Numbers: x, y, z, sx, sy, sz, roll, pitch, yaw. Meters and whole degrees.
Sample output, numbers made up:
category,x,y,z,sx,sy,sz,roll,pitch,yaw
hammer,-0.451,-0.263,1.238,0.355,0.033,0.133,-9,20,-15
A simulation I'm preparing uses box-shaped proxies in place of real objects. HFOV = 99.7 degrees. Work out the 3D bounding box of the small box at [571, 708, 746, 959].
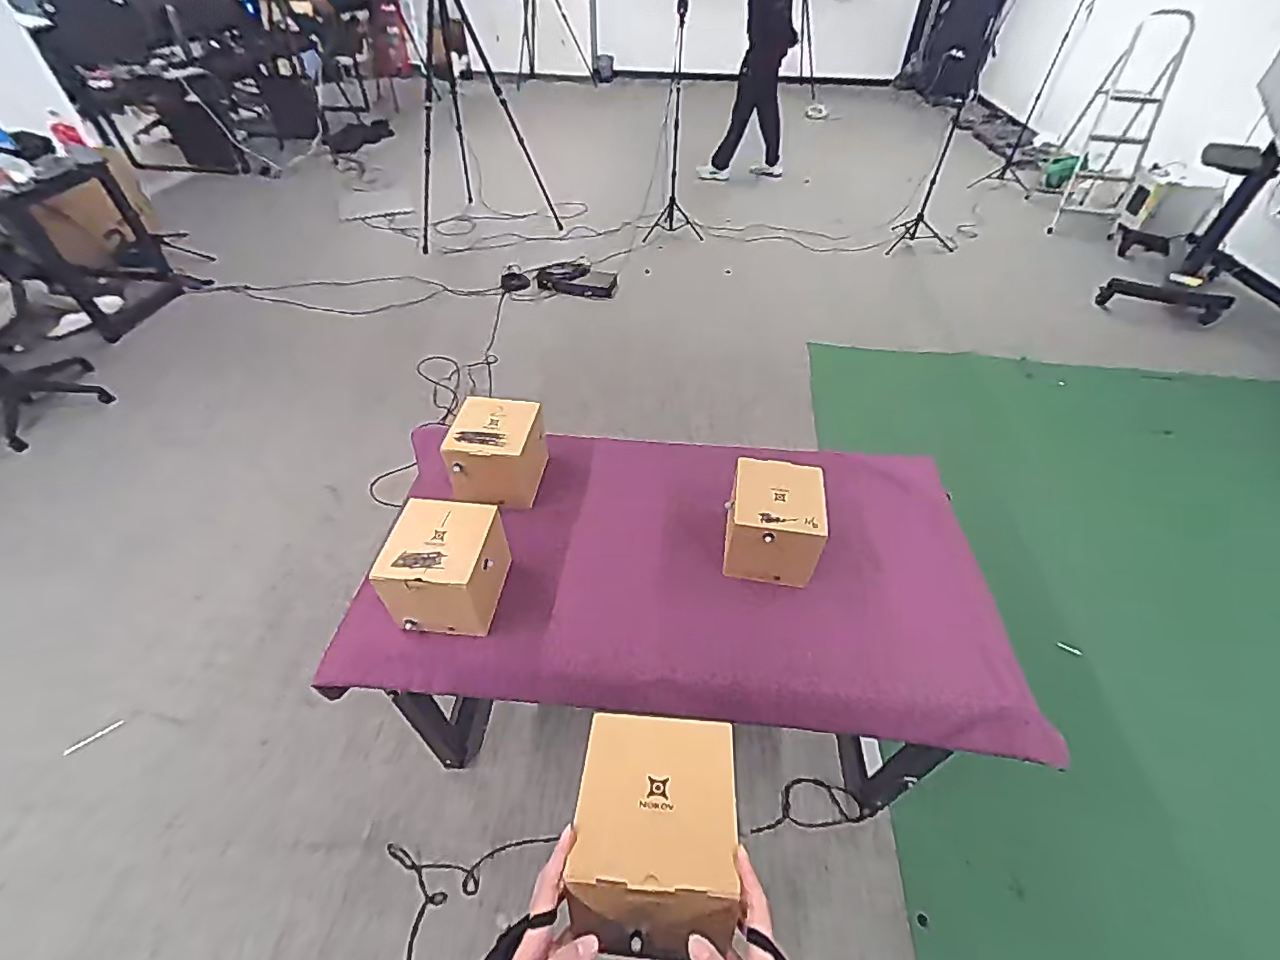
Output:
category,x,y,z,sx,sy,sz,roll,pitch,yaw
small box,0.023,0.390,0.608,0.168,0.176,0.179,3,33,4

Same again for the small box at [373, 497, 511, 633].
category,x,y,z,sx,sy,sz,roll,pitch,yaw
small box,-0.341,0.156,0.974,0.168,0.176,0.179,5,45,3

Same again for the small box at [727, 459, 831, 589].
category,x,y,z,sx,sy,sz,roll,pitch,yaw
small box,0.265,0.086,1.061,0.168,0.176,0.179,7,46,7
